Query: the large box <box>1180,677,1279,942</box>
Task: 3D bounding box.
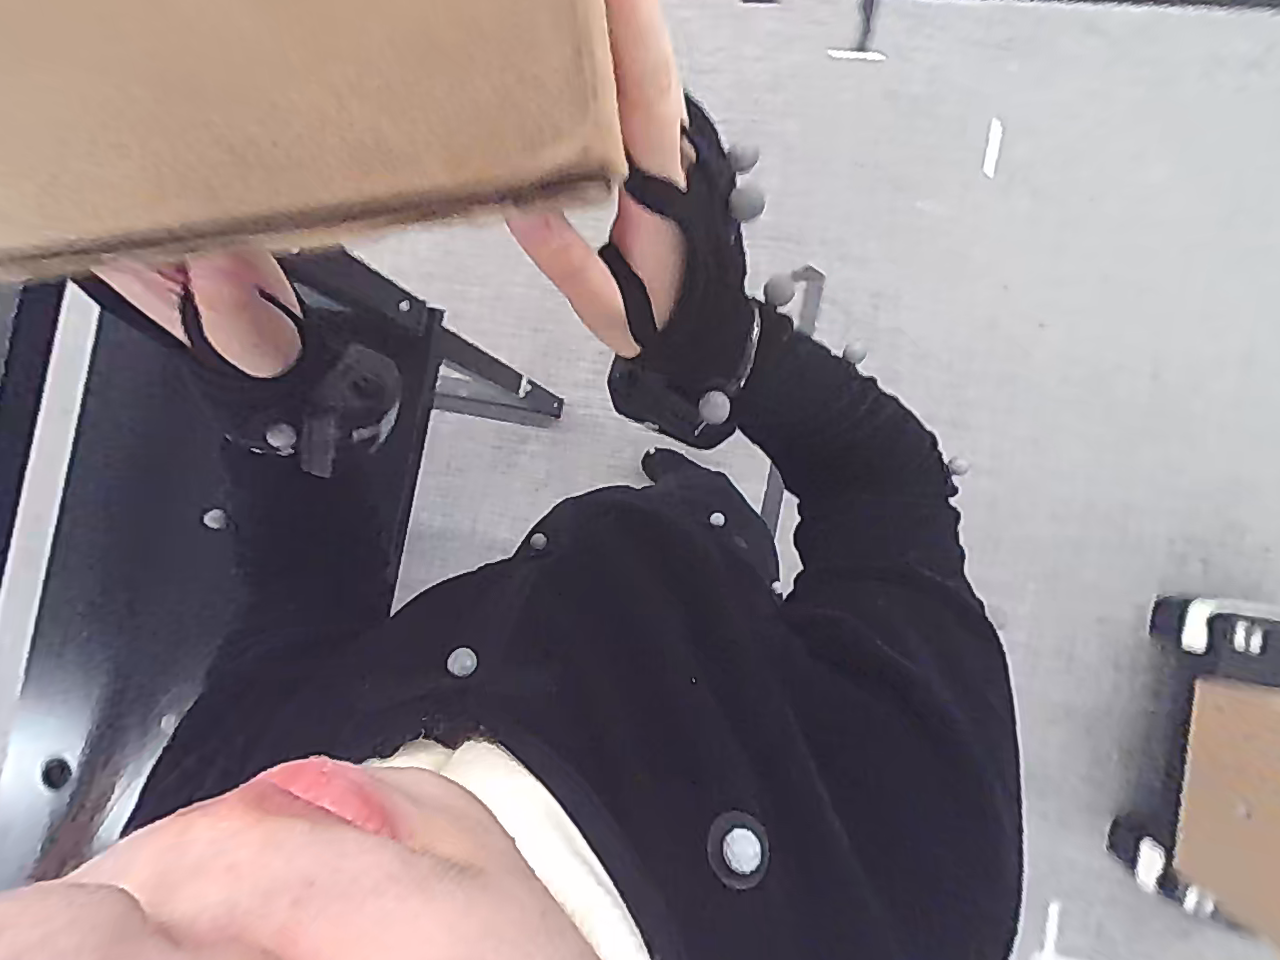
[{"bbox_3d":[1.278,0.622,0.974,0.320,0.320,0.408,7,88,7],"label":"large box"}]
